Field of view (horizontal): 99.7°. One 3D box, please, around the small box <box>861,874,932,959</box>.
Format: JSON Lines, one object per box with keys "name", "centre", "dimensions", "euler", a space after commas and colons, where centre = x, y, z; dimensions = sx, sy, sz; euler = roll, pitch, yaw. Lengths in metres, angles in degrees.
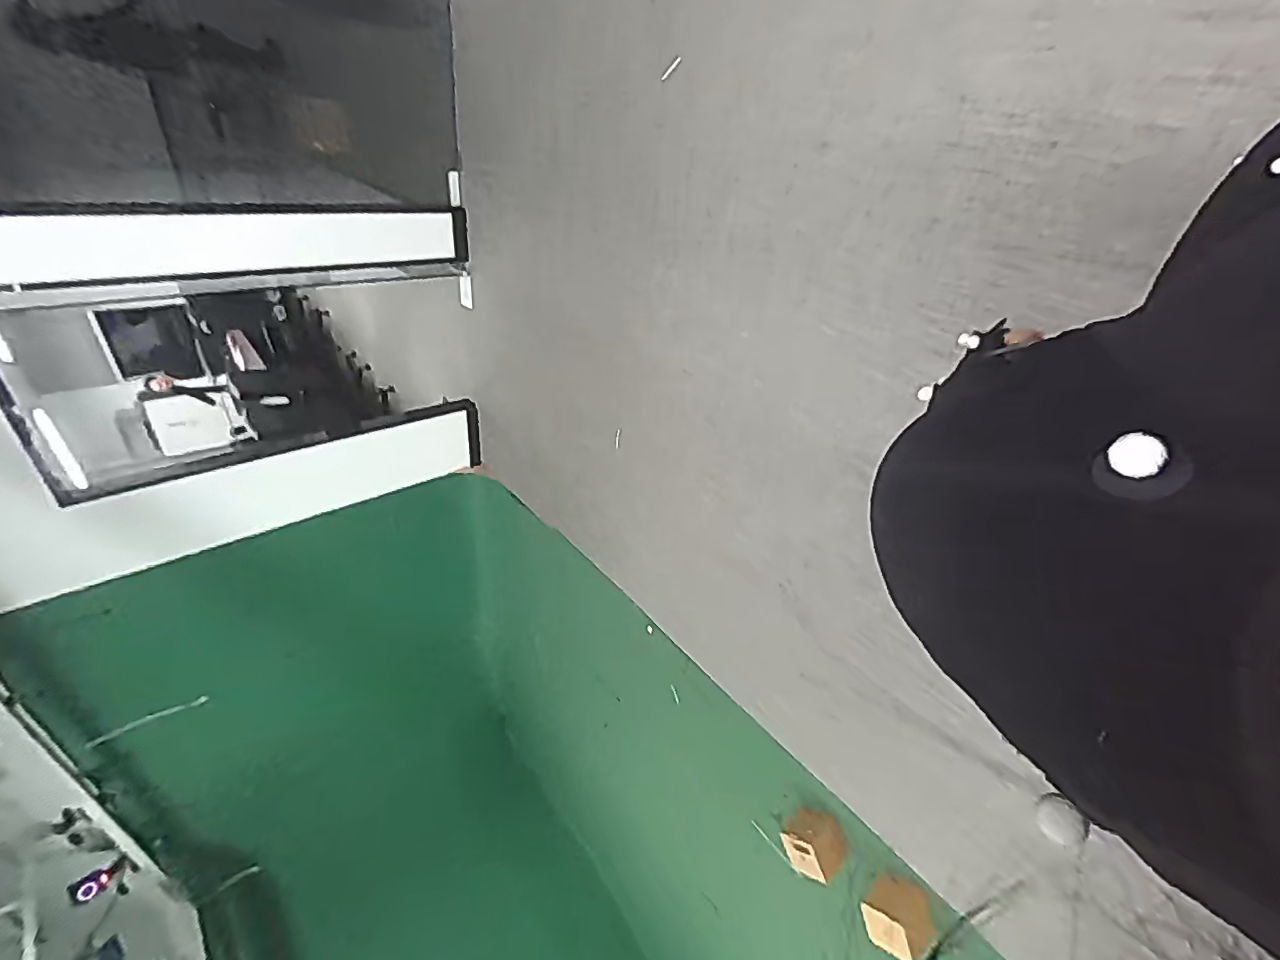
{"name": "small box", "centre": [0.954, 1.627, 2.004], "dimensions": [0.168, 0.176, 0.179], "euler": [-7, 101, 52]}
